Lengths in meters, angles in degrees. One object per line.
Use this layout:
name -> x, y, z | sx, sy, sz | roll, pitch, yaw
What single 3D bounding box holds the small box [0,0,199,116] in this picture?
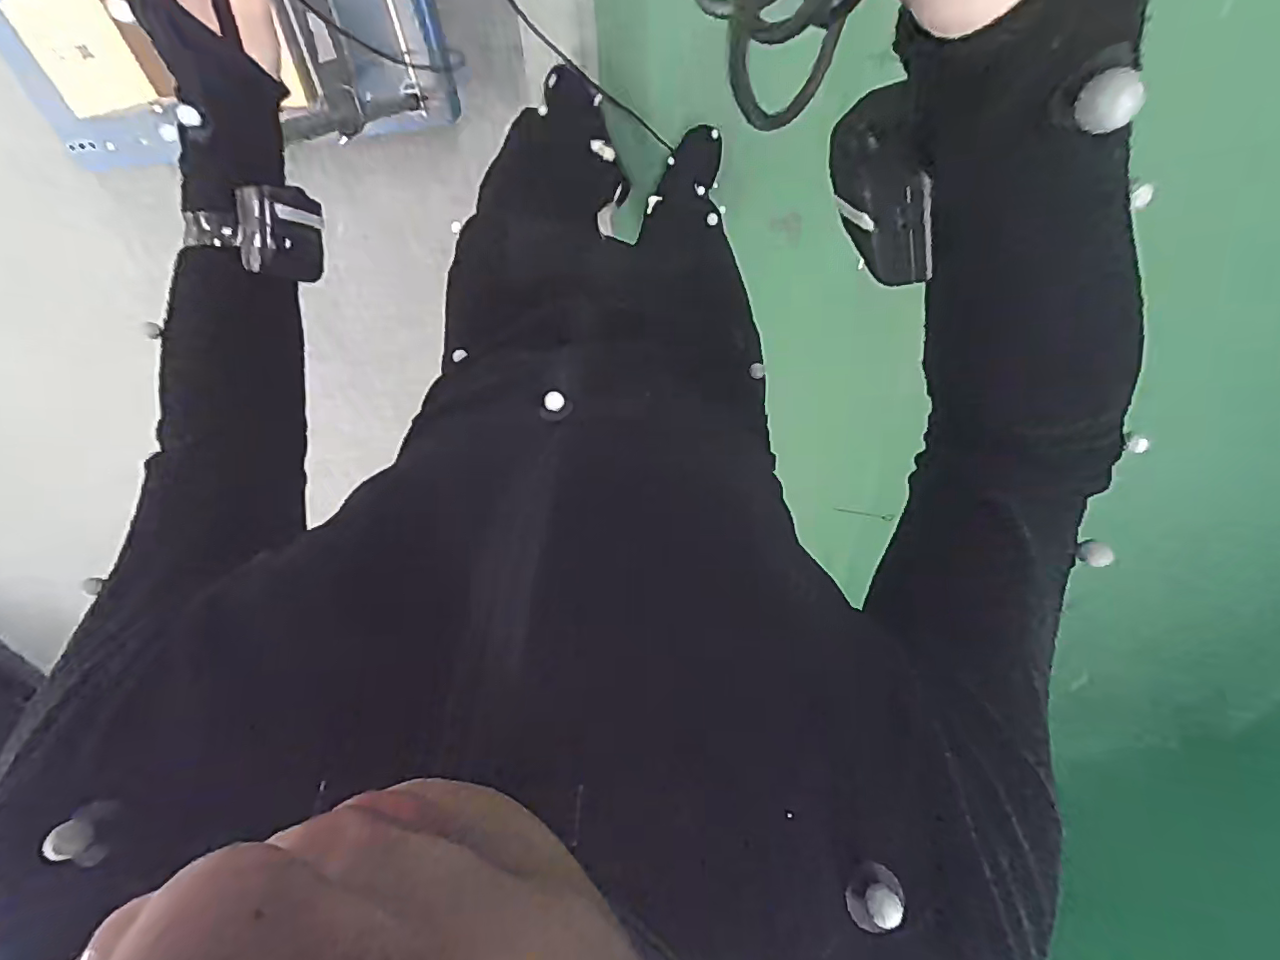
small box -> -0.950, -0.774, 0.970 | 0.179, 0.176, 0.168 | -6, 128, 8
